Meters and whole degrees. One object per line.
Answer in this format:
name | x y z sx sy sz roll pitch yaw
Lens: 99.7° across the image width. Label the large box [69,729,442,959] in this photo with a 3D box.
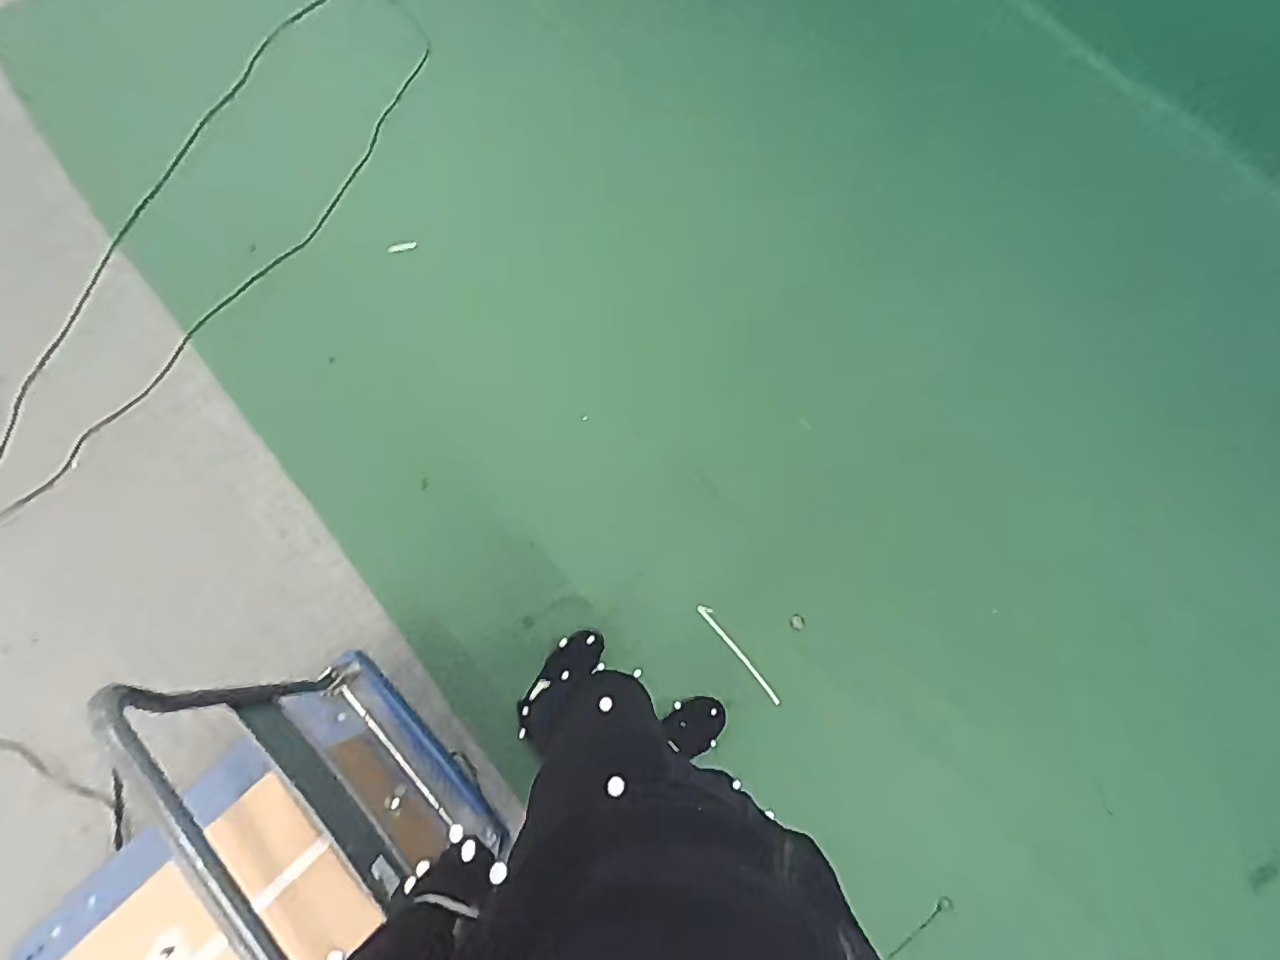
large box | -0.662 0.757 1.011 0.408 0.320 0.320 -43 80 -10
